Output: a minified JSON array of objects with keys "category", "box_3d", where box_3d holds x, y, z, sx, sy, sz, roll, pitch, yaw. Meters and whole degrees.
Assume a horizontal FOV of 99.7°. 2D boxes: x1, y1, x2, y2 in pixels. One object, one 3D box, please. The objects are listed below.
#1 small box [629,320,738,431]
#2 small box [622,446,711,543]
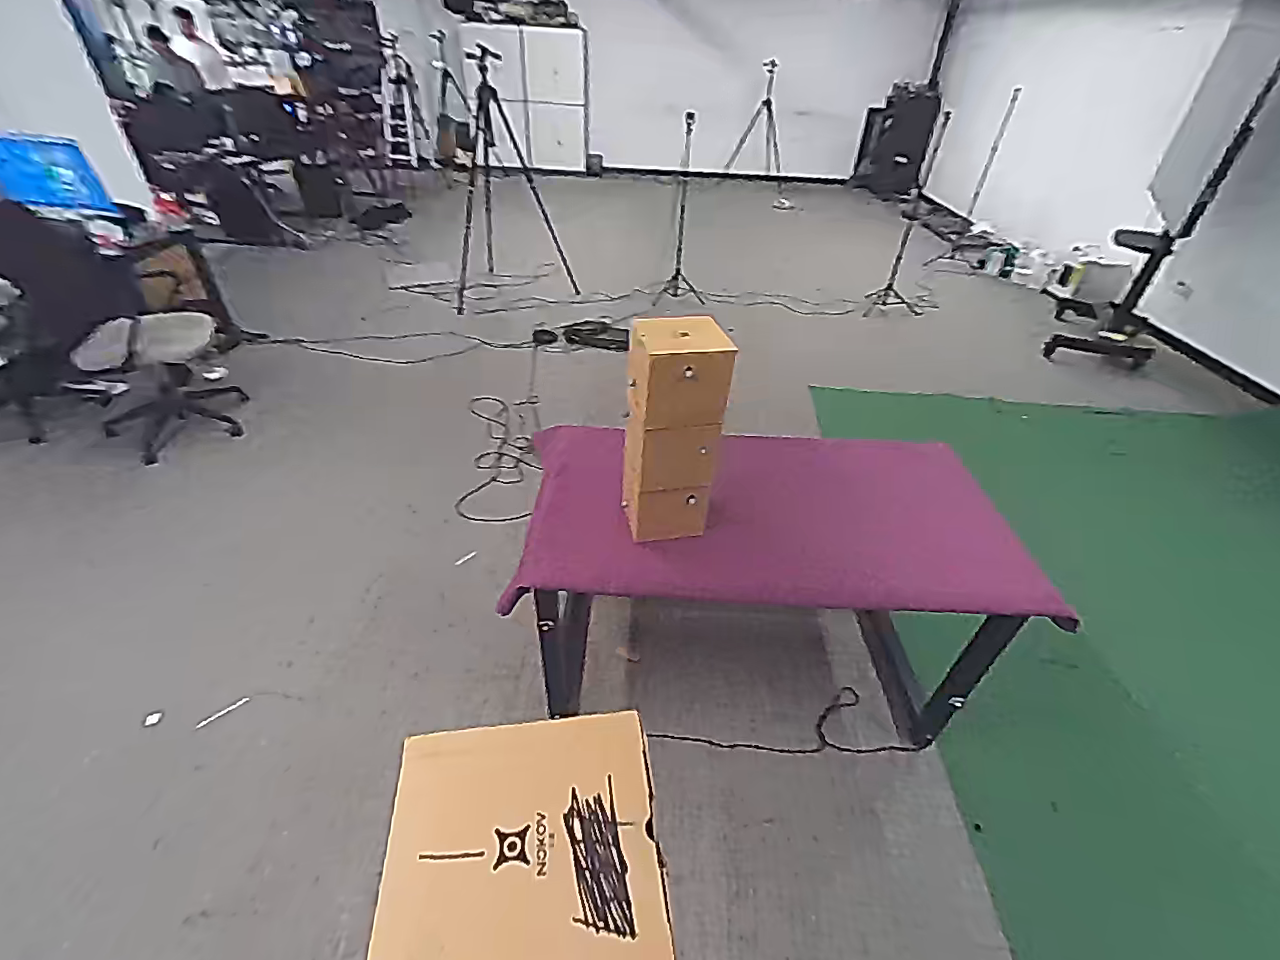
[{"category":"small box","box_3d":[0.080,-0.215,1.113,0.179,0.176,0.168,-6,40,-13]},{"category":"small box","box_3d":[0.056,0.035,1.321,0.179,0.176,0.168,-5,39,-11]}]
